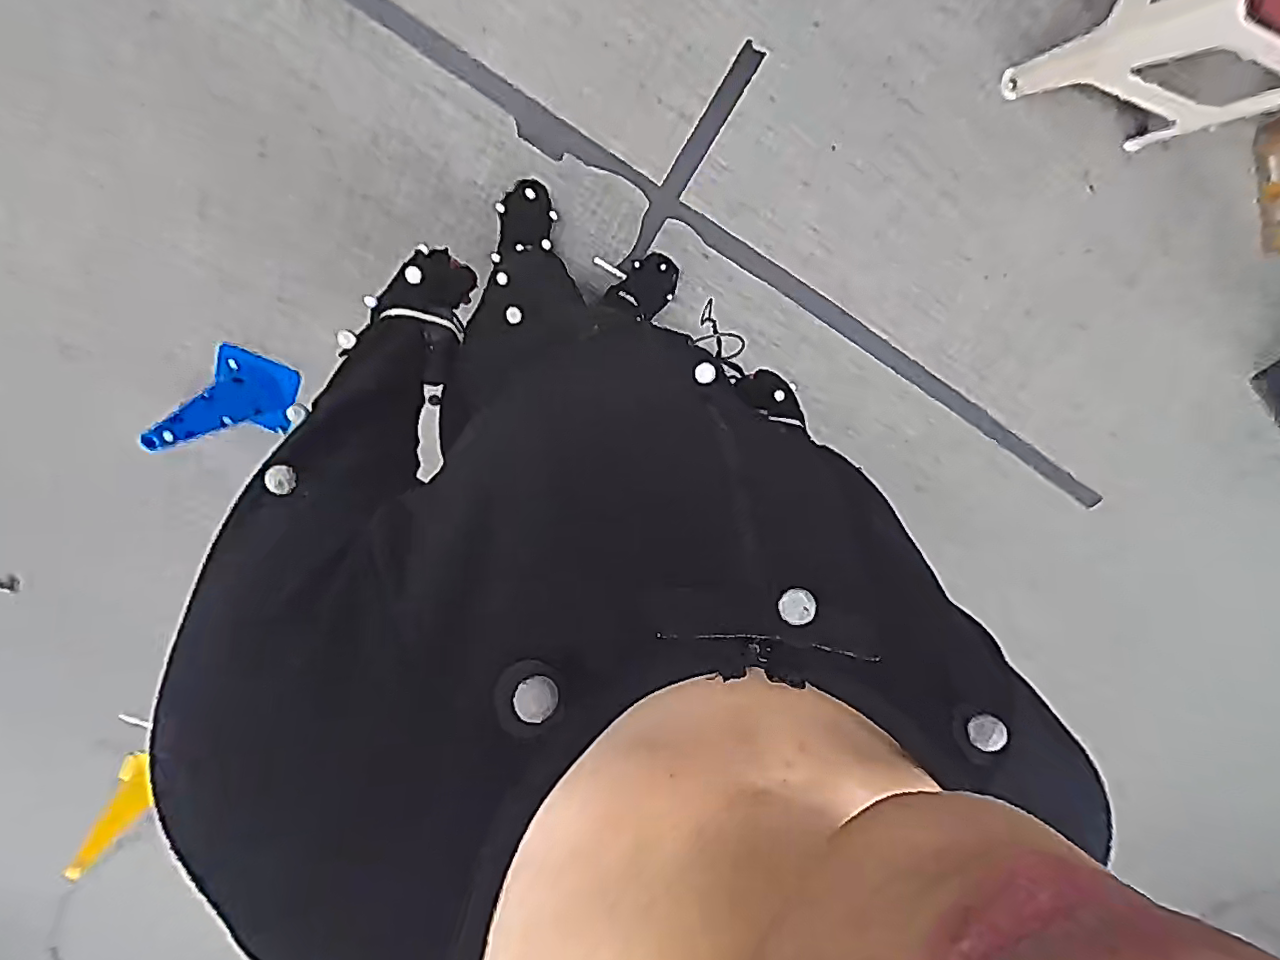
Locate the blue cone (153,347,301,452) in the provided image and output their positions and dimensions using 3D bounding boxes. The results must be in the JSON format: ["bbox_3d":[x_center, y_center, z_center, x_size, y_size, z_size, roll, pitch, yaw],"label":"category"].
[{"bbox_3d":[-0.992,-0.161,1.265,0.192,0.380,0.193,24,114,-14],"label":"blue cone"}]
